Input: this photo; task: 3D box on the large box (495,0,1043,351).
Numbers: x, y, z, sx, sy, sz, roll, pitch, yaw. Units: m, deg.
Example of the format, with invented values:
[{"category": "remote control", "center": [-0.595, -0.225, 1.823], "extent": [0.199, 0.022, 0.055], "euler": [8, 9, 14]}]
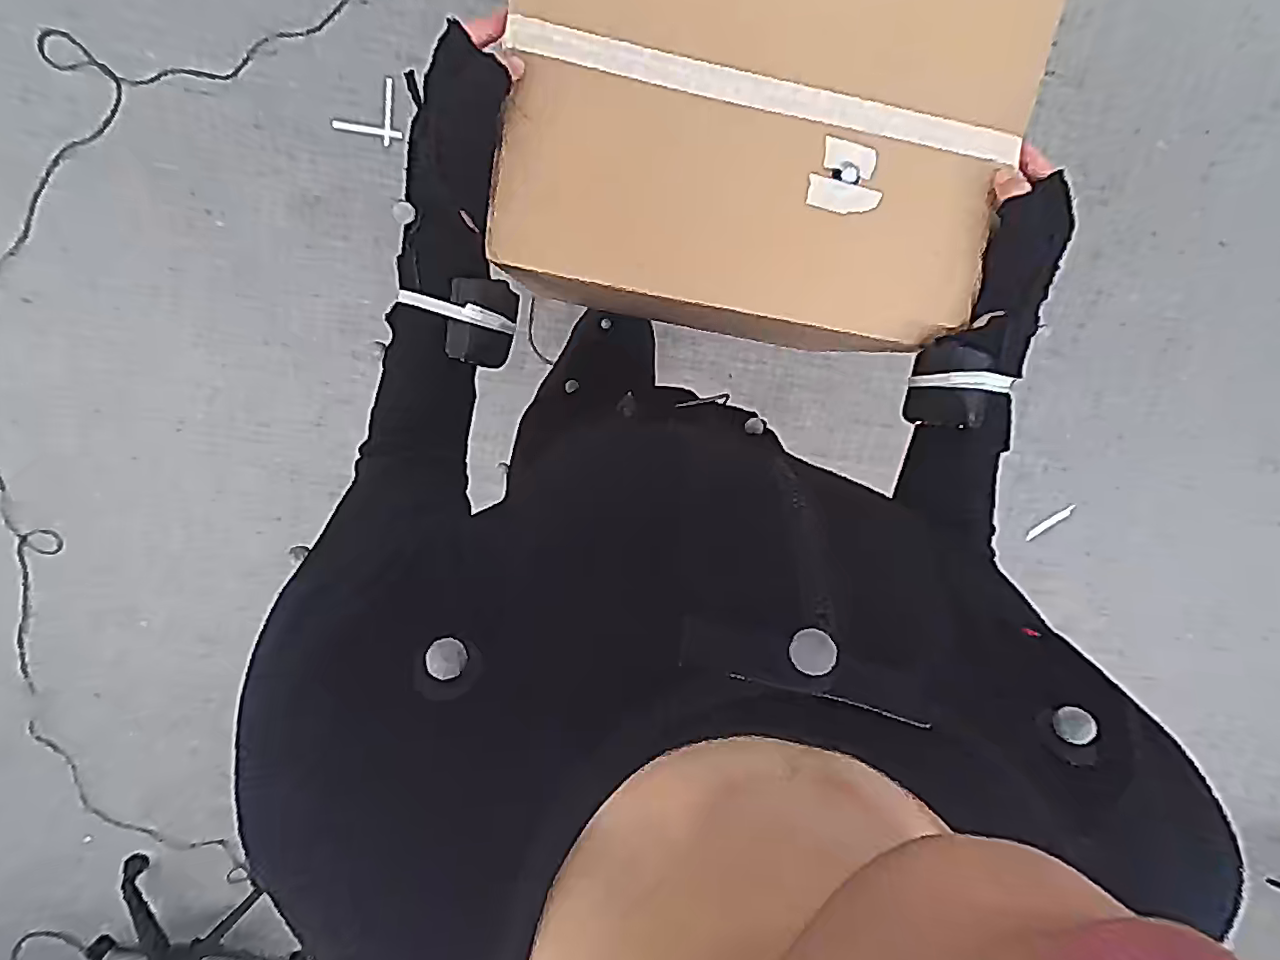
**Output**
[{"category": "large box", "center": [0.086, -0.323, 0.569], "extent": [0.408, 0.320, 0.320], "euler": [9, 104, -7]}]
